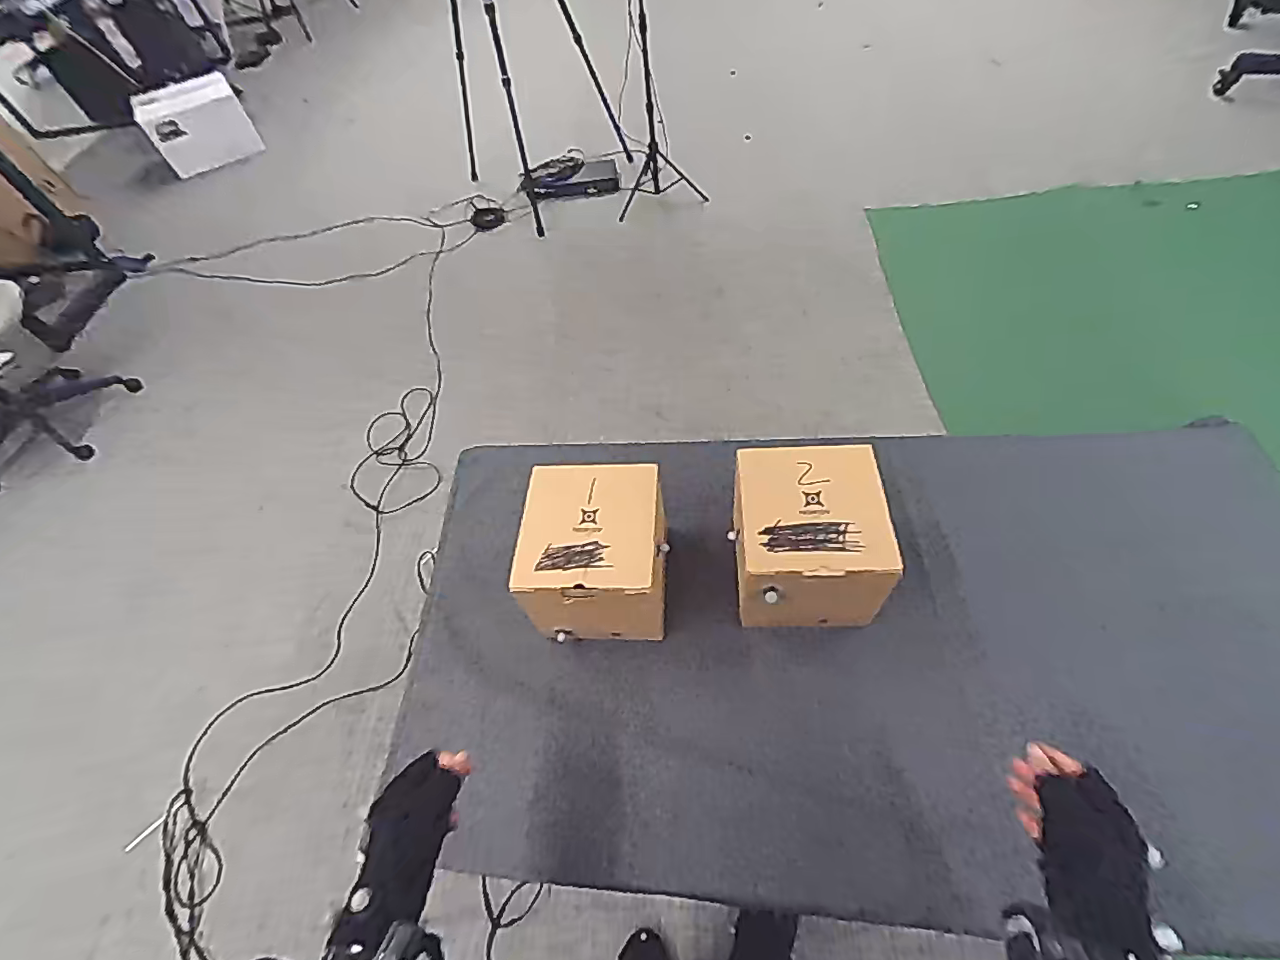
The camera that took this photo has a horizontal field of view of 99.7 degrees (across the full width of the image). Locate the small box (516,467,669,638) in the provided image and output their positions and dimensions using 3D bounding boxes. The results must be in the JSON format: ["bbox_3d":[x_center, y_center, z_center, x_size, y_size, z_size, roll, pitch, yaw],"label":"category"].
[{"bbox_3d":[-0.049,0.102,0.722,0.168,0.176,0.179,-1,54,7],"label":"small box"}]
